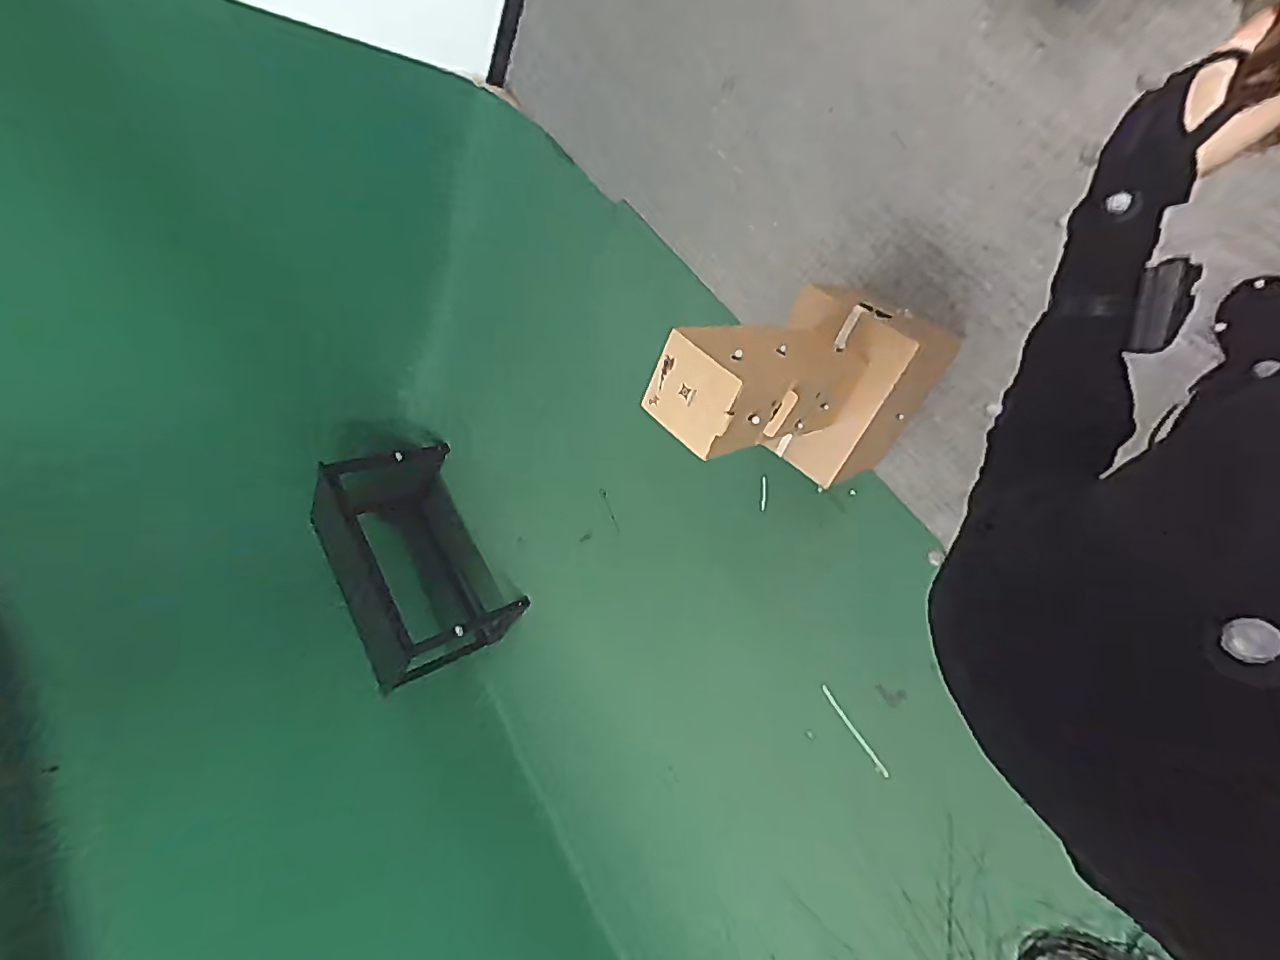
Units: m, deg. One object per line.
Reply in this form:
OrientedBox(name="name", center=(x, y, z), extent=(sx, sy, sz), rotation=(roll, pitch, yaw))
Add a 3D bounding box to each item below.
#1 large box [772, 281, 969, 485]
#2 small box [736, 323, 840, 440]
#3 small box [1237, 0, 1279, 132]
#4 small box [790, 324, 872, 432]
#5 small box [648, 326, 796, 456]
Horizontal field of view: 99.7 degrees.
OrientedBox(name="large box", center=(0.553, -0.264, 1.398), extent=(0.320, 0.320, 0.408), rotation=(43, 131, 31))
OrientedBox(name="small box", center=(0.272, -0.209, 1.104), extent=(0.179, 0.176, 0.168), rotation=(46, 131, 26))
OrientedBox(name="small box", center=(0.505, -0.336, 0.325), extent=(0.179, 0.176, 0.168), rotation=(-1, 112, 39))
OrientedBox(name="small box", center=(0.387, -0.234, 1.219), extent=(0.168, 0.176, 0.179), rotation=(44, 130, 26))
OrientedBox(name="small box", center=(0.153, -0.173, 0.997), extent=(0.179, 0.176, 0.168), rotation=(44, 130, 26))
